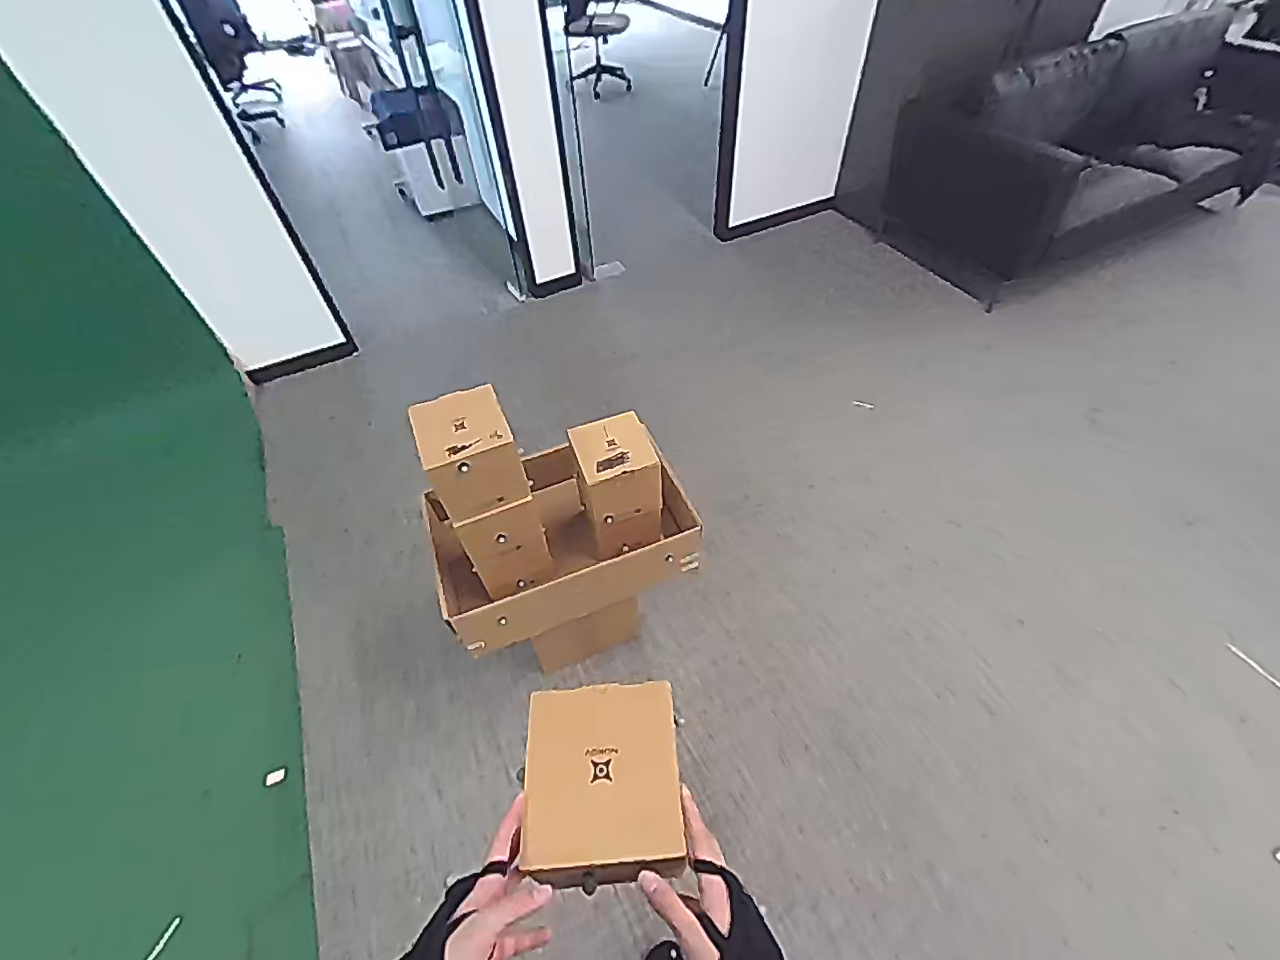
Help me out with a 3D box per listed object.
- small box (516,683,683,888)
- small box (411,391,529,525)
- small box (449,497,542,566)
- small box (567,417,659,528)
[{"bbox_3d":[-0.040,0.363,0.637,0.168,0.176,0.179,-5,46,-1],"label":"small box"},{"bbox_3d":[-0.333,-0.042,1.072,0.168,0.176,0.179,-20,52,-13],"label":"small box"},{"bbox_3d":[-0.325,0.068,1.192,0.168,0.176,0.179,-19,53,-14],"label":"small box"},{"bbox_3d":[-0.058,-0.010,1.247,0.168,0.176,0.179,-17,51,-10],"label":"small box"}]
